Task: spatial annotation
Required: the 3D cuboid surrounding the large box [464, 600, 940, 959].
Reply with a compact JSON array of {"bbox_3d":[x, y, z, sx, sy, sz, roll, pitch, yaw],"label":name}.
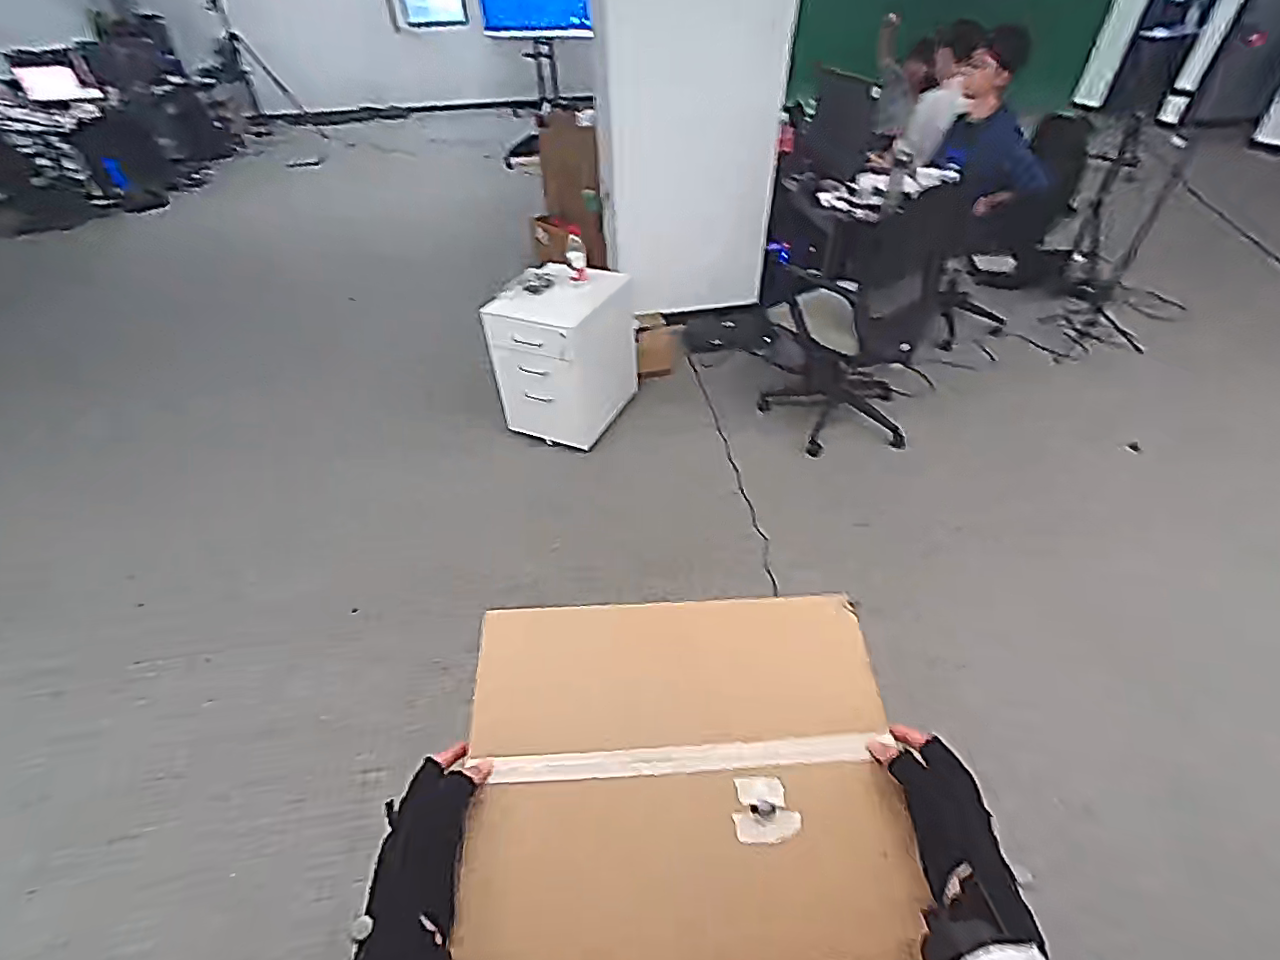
[{"bbox_3d":[0.042,0.356,0.645,0.408,0.320,0.320,-1,55,-2],"label":"large box"}]
